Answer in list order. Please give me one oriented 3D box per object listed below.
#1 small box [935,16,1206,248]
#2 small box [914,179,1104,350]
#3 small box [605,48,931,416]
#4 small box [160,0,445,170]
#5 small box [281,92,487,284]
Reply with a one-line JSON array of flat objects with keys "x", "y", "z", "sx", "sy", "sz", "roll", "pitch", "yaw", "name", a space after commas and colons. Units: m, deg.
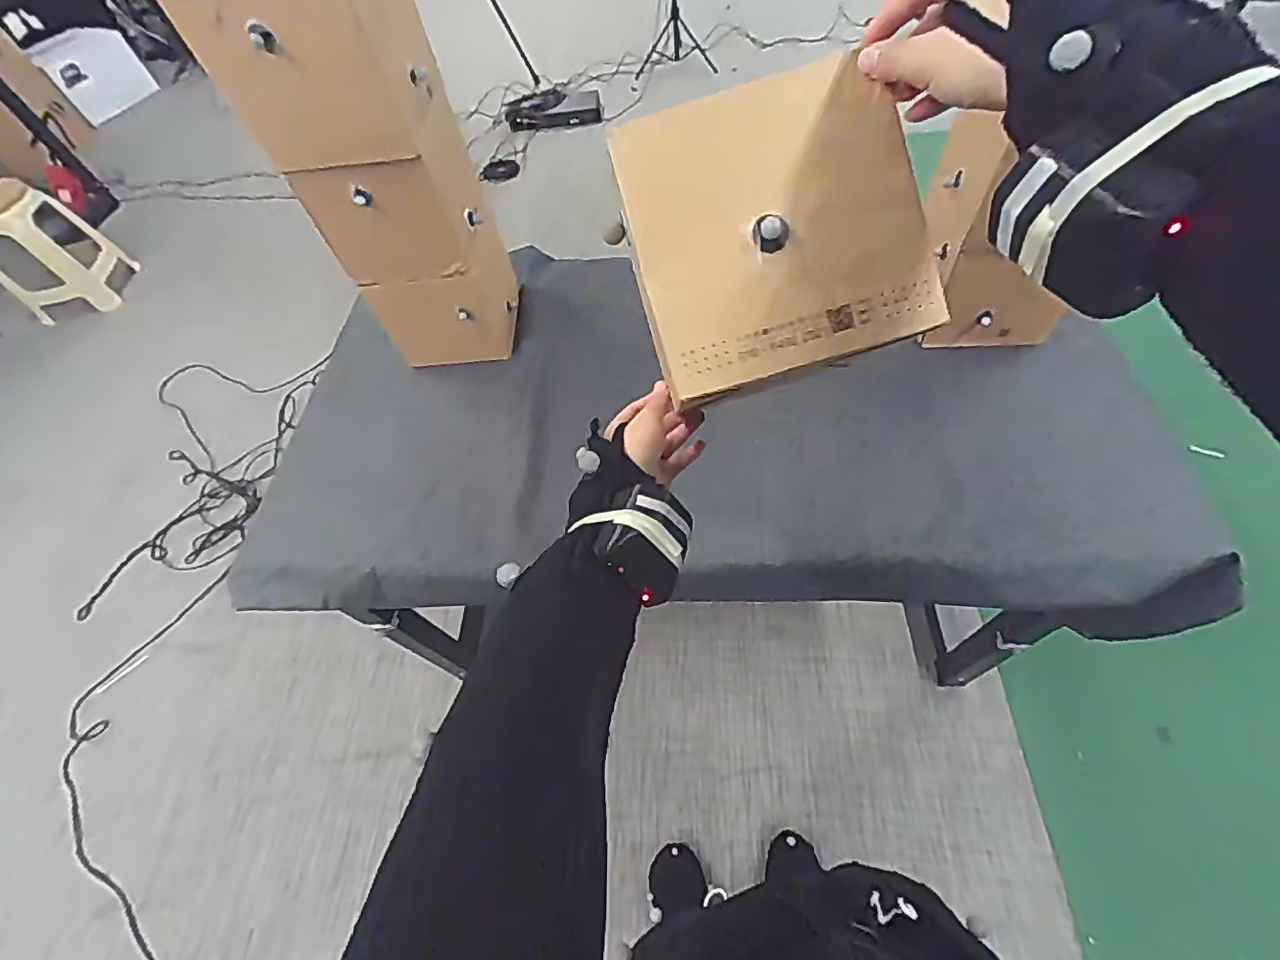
[{"x": 0.467, "y": -0.388, "z": 0.625, "sx": 0.168, "sy": 0.176, "sz": 0.179, "roll": 1, "pitch": 60, "yaw": 8, "name": "small box"}, {"x": 0.490, "y": -0.307, "z": 0.766, "sx": 0.168, "sy": 0.176, "sz": 0.179, "roll": 0, "pitch": 59, "yaw": 8, "name": "small box"}, {"x": 0.084, "y": -0.150, "z": 0.398, "sx": 0.168, "sy": 0.179, "sz": 0.176, "roll": -14, "pitch": 92, "yaw": 5, "name": "small box"}, {"x": -0.341, "y": -0.464, "z": 0.587, "sx": 0.179, "sy": 0.176, "sz": 0.168, "roll": -2, "pitch": 60, "yaw": 5, "name": "small box"}, {"x": -0.327, "y": -0.386, "z": 0.731, "sx": 0.179, "sy": 0.176, "sz": 0.168, "roll": -4, "pitch": 60, "yaw": 3, "name": "small box"}]
